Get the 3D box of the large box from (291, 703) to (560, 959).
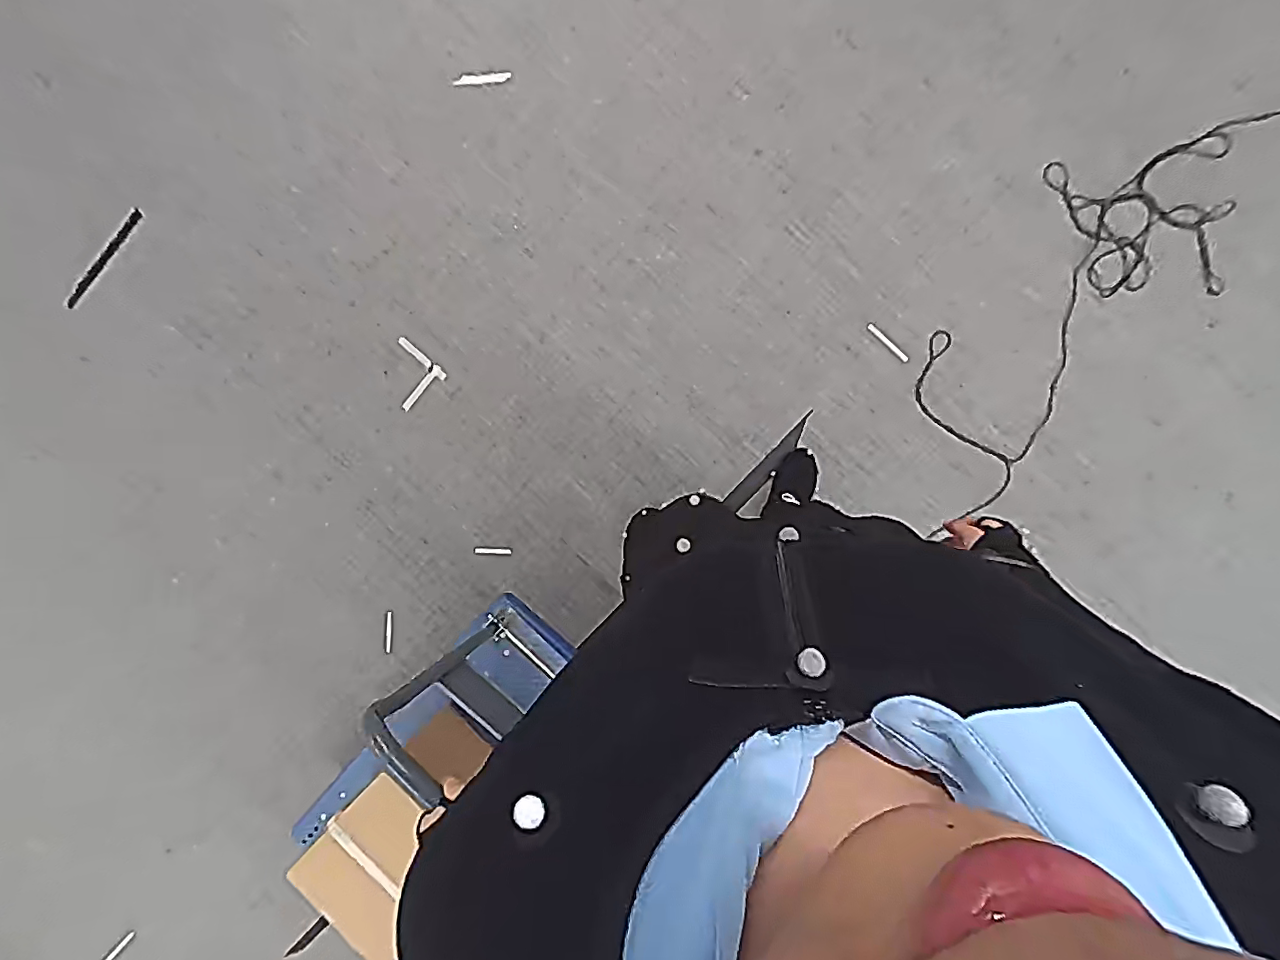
[{"bbox_3d":[-0.451,0.801,1.221,0.408,0.320,0.320,43,95,2],"label":"large box"}]
